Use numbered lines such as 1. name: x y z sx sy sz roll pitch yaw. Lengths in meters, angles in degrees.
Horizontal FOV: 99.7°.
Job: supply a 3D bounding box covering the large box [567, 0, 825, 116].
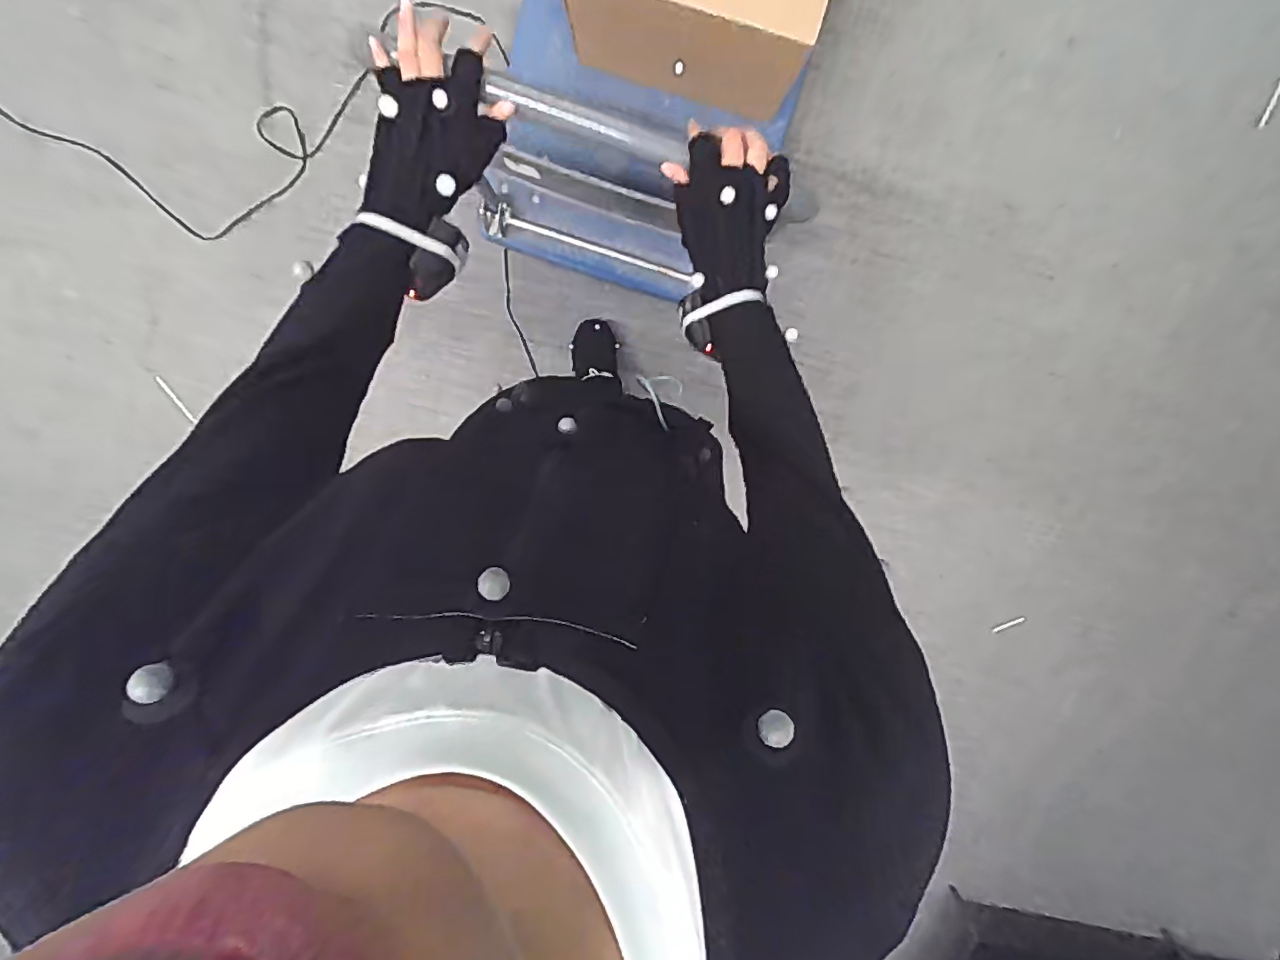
1. large box: 0.111 -0.890 0.917 0.408 0.320 0.320 15 104 -3
